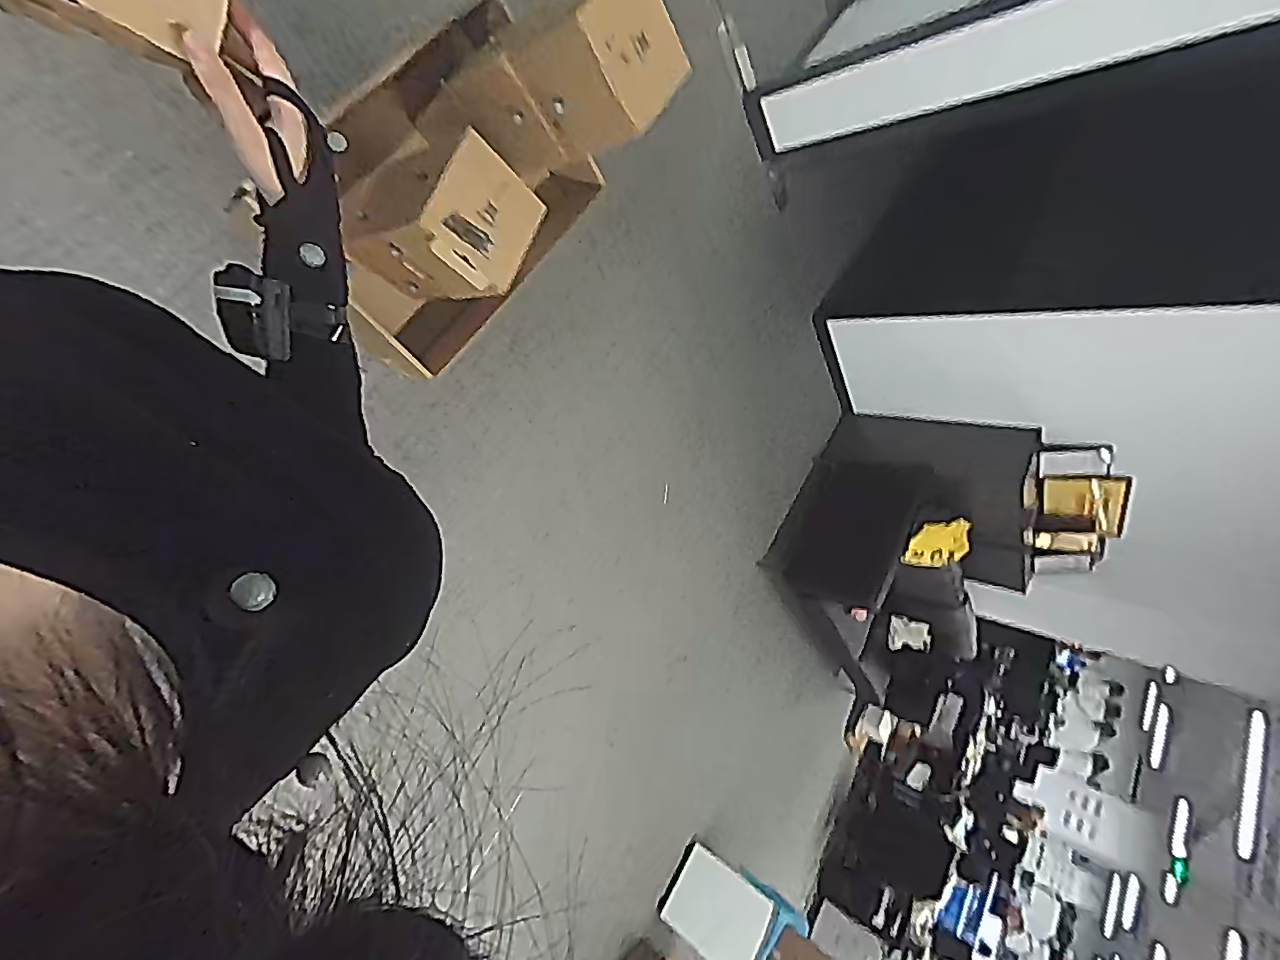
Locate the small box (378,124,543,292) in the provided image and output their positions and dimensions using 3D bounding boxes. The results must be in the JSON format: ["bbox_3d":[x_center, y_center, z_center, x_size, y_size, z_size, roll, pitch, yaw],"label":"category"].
[{"bbox_3d":[-0.300,-0.431,0.892,0.168,0.176,0.179,35,74,-47],"label":"small box"}]

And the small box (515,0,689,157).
[{"bbox_3d":[-0.060,-0.647,0.843,0.179,0.176,0.168,-58,133,-18],"label":"small box"}]

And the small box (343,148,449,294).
[{"bbox_3d":[-0.418,-0.464,1.001,0.168,0.176,0.179,35,74,-46],"label":"small box"}]

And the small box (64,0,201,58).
[{"bbox_3d":[-0.349,-0.385,0.300,0.168,0.176,0.179,5,116,-53],"label":"small box"}]

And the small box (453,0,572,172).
[{"bbox_3d":[-0.186,-0.672,0.947,0.179,0.176,0.168,46,67,-42],"label":"small box"}]
